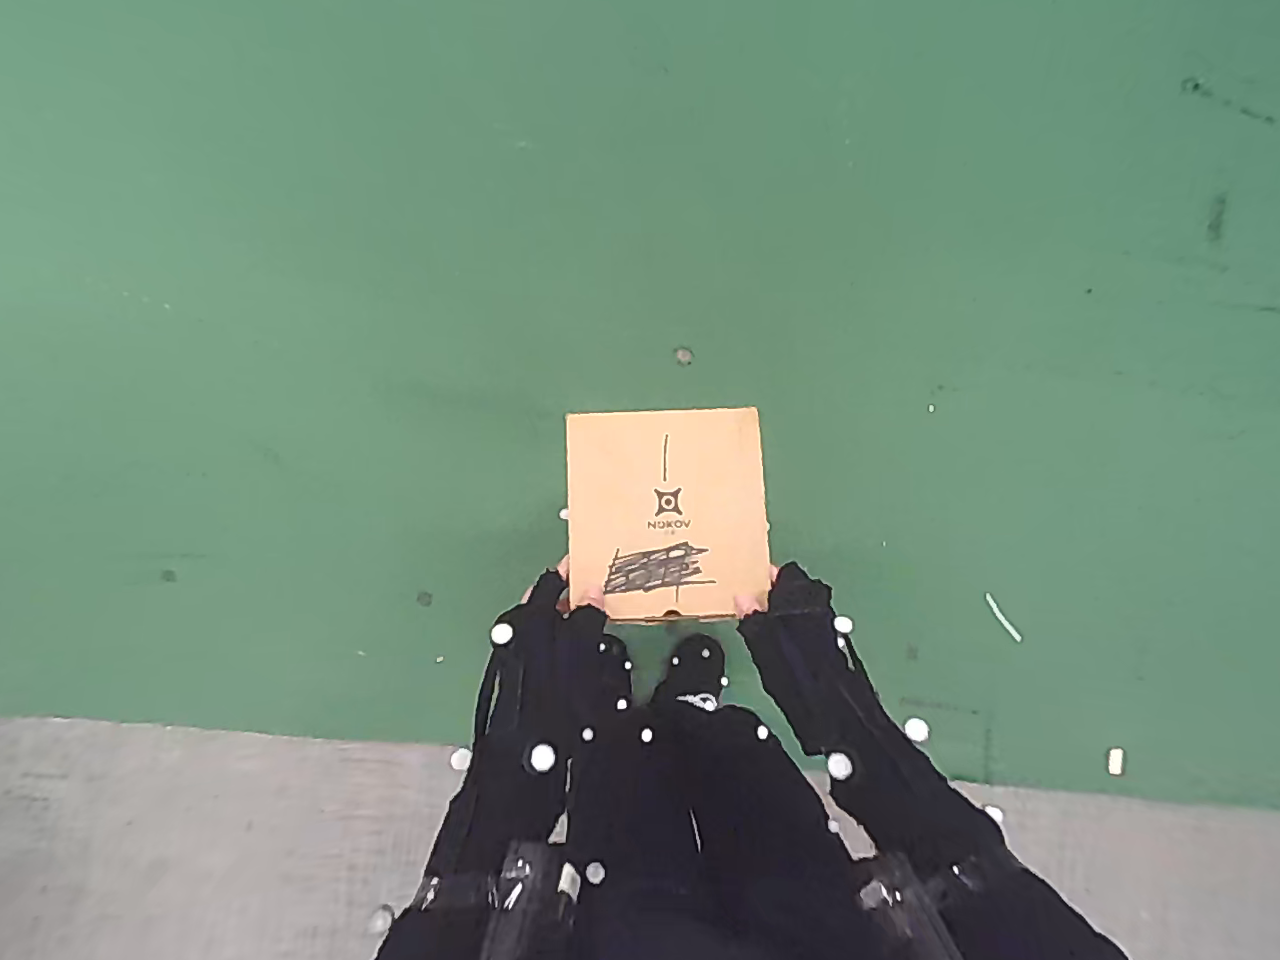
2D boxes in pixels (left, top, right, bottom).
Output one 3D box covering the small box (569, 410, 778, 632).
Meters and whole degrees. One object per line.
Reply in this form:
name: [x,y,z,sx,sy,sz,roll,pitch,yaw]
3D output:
small box: [0.025,0.042,0.513,0.168,0.176,0.179,-2,80,-2]
